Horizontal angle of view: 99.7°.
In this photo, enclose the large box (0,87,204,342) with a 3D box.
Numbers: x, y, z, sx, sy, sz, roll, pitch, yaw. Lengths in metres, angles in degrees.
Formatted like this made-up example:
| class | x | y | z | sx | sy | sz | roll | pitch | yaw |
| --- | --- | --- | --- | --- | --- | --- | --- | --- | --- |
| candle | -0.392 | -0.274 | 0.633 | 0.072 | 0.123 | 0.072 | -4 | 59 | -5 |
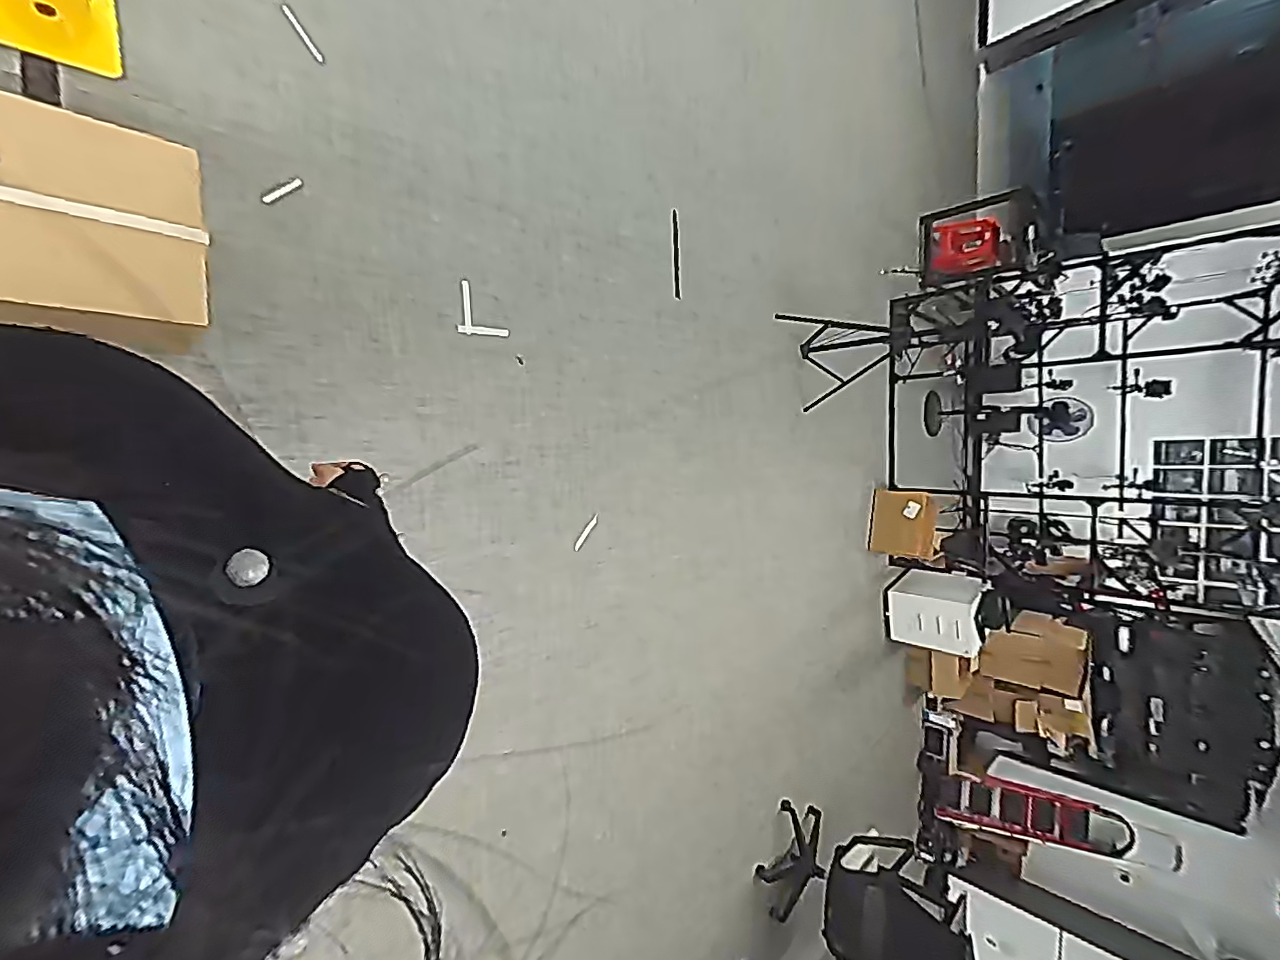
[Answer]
| class | x | y | z | sx | sy | sz | roll | pitch | yaw |
| --- | --- | --- | --- | --- | --- | --- | --- | --- | --- |
| large box | -1.031 | -0.434 | 0.929 | 0.408 | 0.320 | 0.320 | -3 | 92 | -45 |
